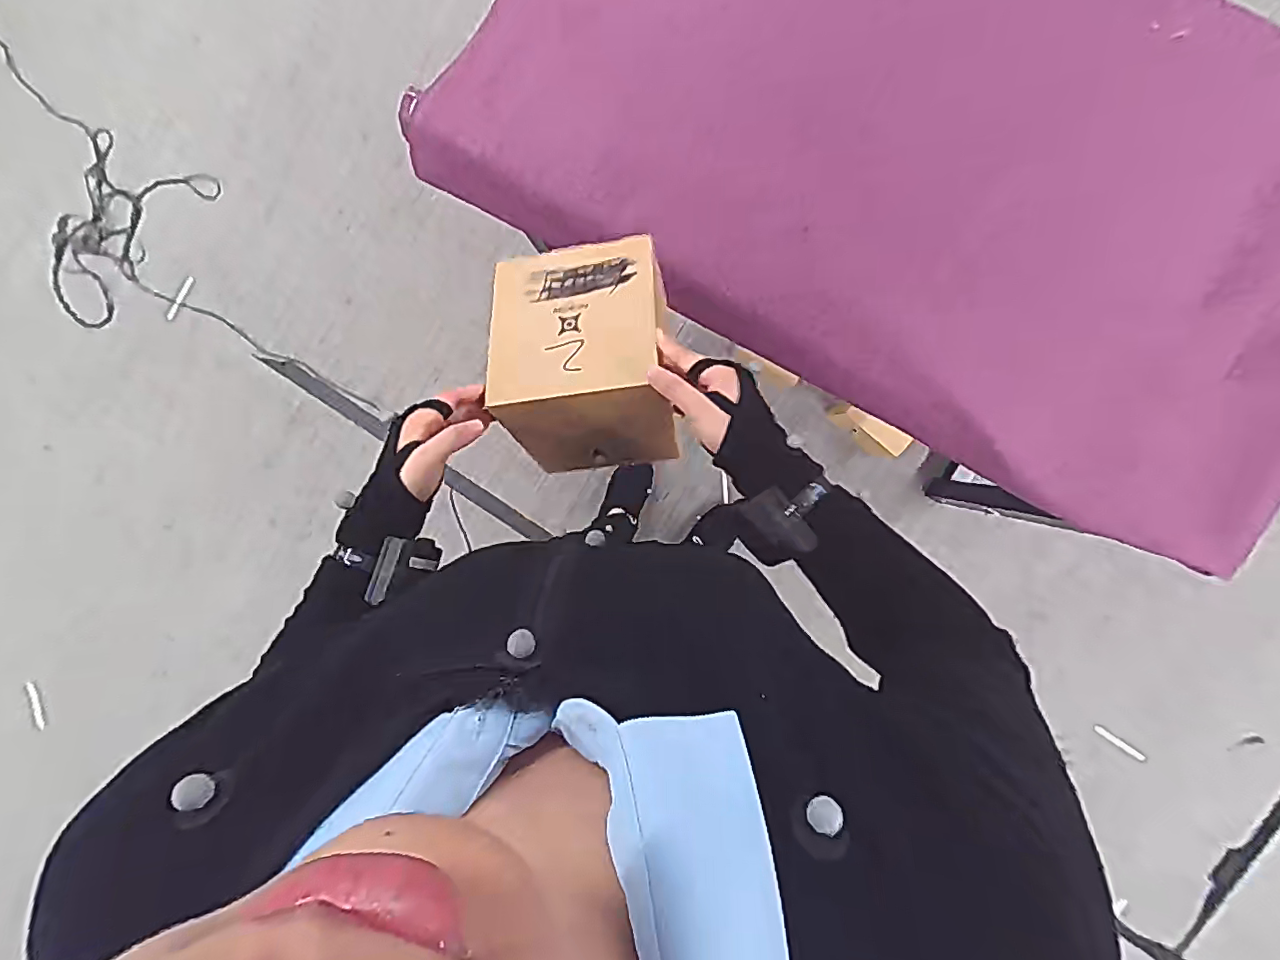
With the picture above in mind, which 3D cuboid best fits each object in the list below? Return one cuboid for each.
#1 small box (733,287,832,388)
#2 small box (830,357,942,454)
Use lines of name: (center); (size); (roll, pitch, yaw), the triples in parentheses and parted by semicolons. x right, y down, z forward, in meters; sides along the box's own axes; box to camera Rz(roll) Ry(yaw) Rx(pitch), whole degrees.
small box: (0.351, -0.350, 1.371); (0.168, 0.176, 0.179); (33, 94, 0)
small box: (0.608, -0.180, 1.369); (0.168, 0.176, 0.179); (40, 94, 1)
